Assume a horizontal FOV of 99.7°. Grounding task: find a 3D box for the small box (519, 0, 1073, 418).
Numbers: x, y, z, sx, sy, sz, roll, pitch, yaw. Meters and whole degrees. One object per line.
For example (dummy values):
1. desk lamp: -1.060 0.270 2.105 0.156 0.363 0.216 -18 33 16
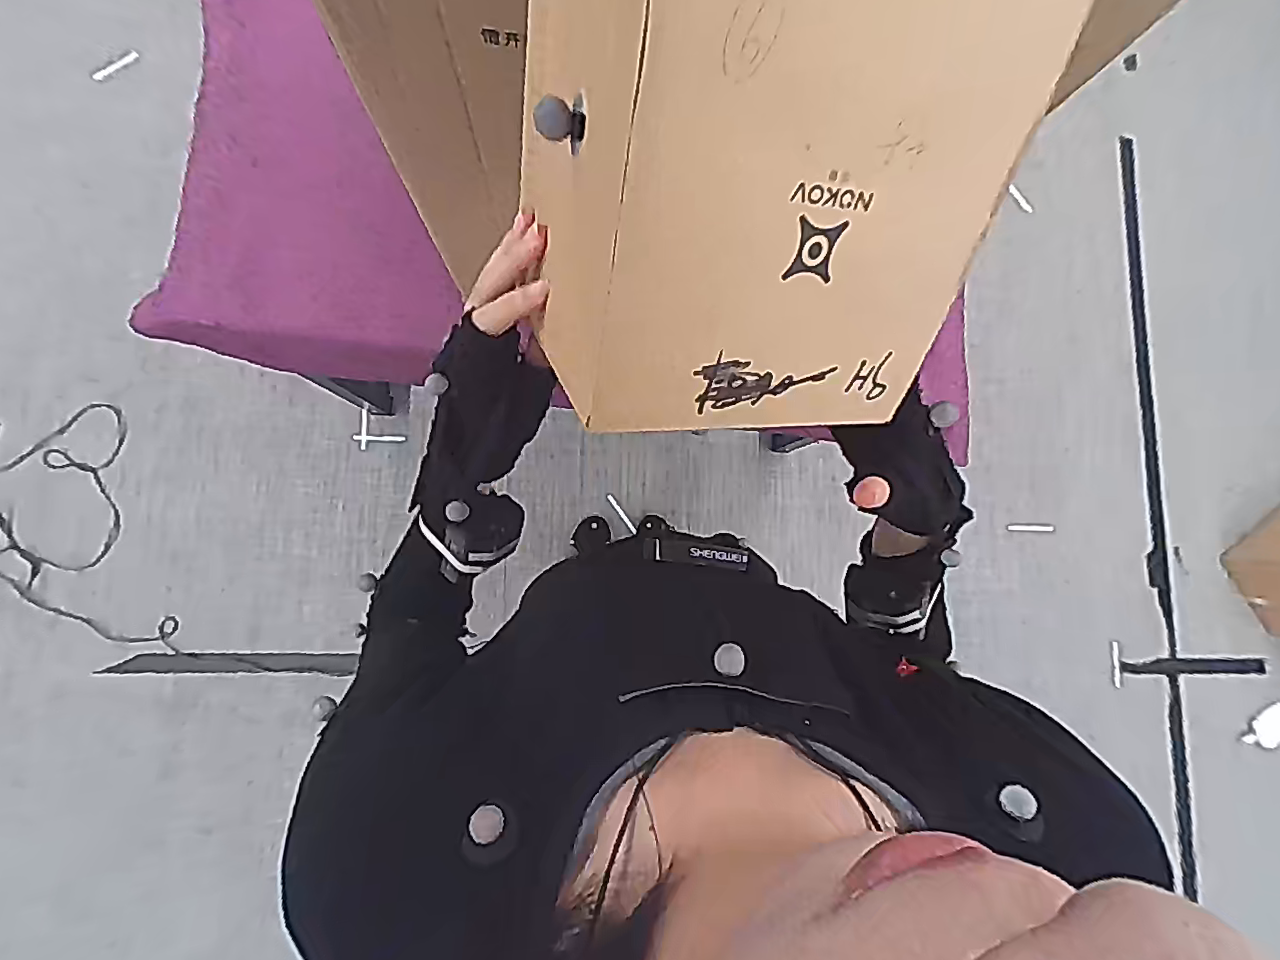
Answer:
1. small box: 0.039 -0.146 0.262 0.168 0.176 0.179 -4 125 -22
